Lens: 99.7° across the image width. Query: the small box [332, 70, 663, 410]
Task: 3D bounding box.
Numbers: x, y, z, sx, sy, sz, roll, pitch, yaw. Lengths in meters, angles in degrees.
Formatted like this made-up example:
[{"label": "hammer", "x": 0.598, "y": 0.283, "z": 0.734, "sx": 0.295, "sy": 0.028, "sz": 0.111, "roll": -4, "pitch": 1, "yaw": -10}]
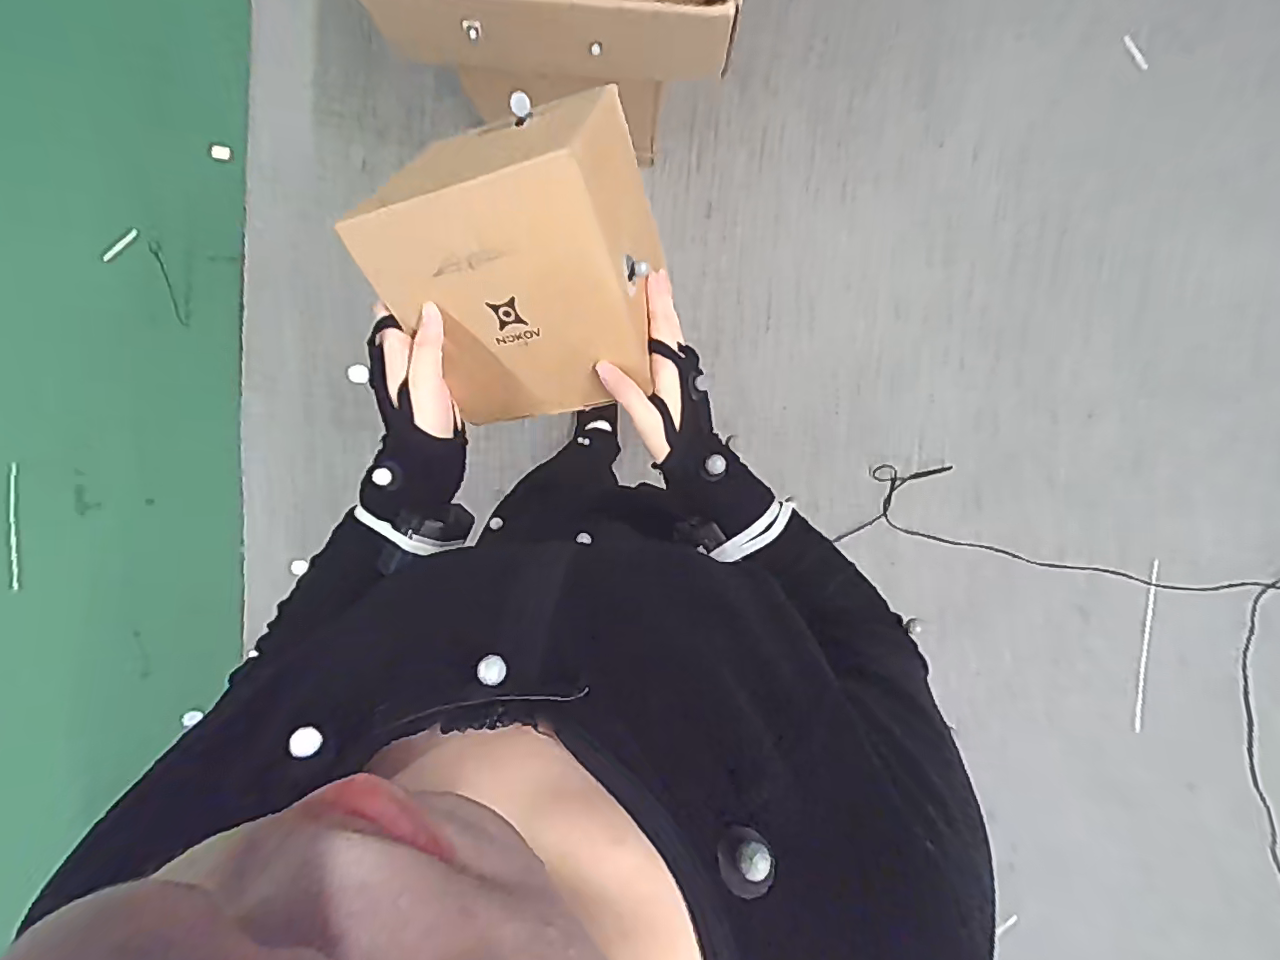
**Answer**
[{"label": "small box", "x": -0.084, "y": -0.183, "z": 0.429, "sx": 0.168, "sy": 0.176, "sz": 0.179, "roll": -6, "pitch": 135, "yaw": 17}]
